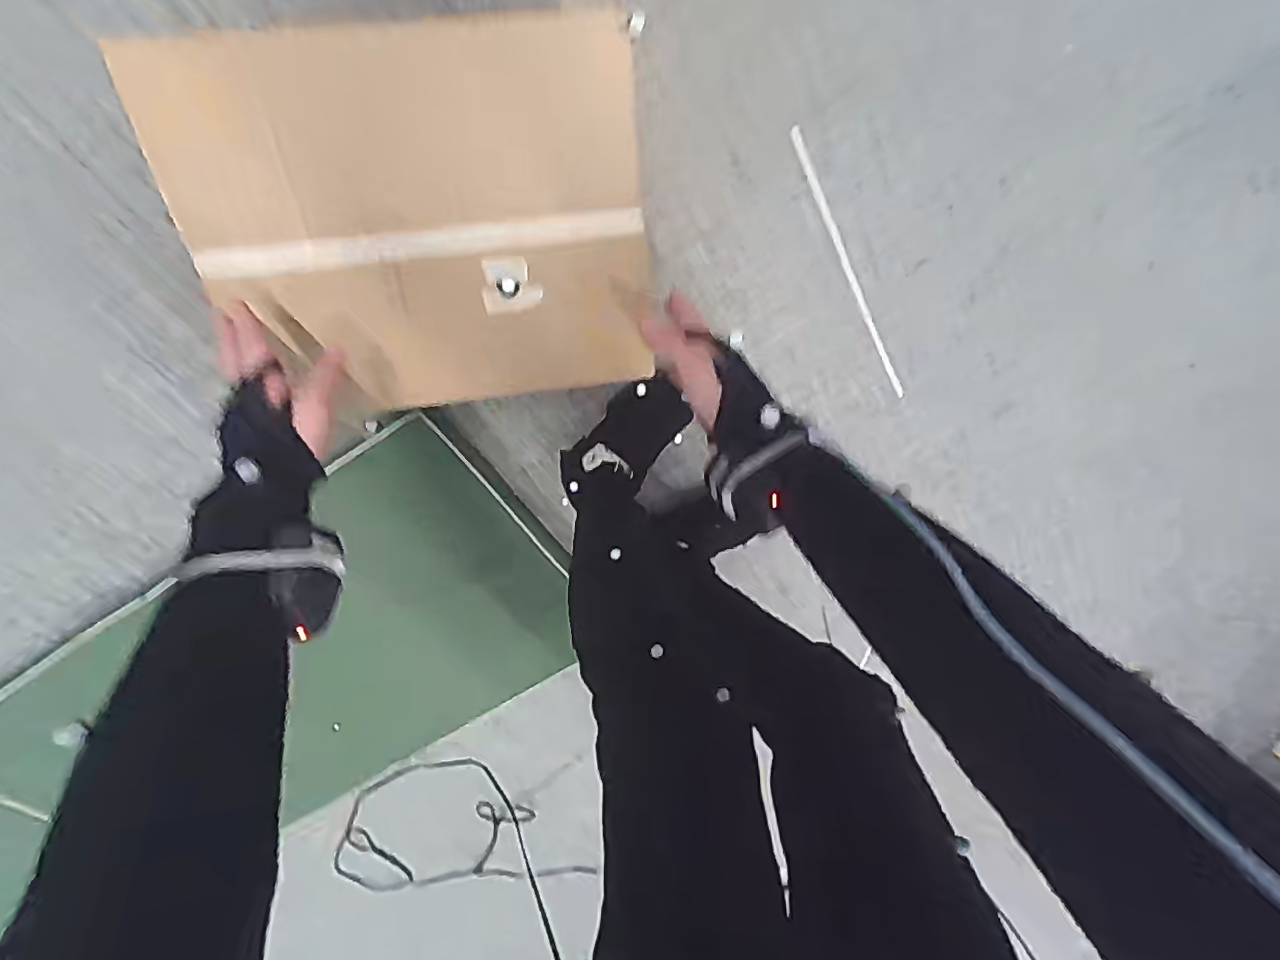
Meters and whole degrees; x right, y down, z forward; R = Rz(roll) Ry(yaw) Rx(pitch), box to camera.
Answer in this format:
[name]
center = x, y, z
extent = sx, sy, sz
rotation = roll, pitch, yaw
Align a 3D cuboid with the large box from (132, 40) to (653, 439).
[large box]
center = -0.218, -0.274, 0.642
extent = 0.408, 0.320, 0.320
rotation = -9, 119, -5
